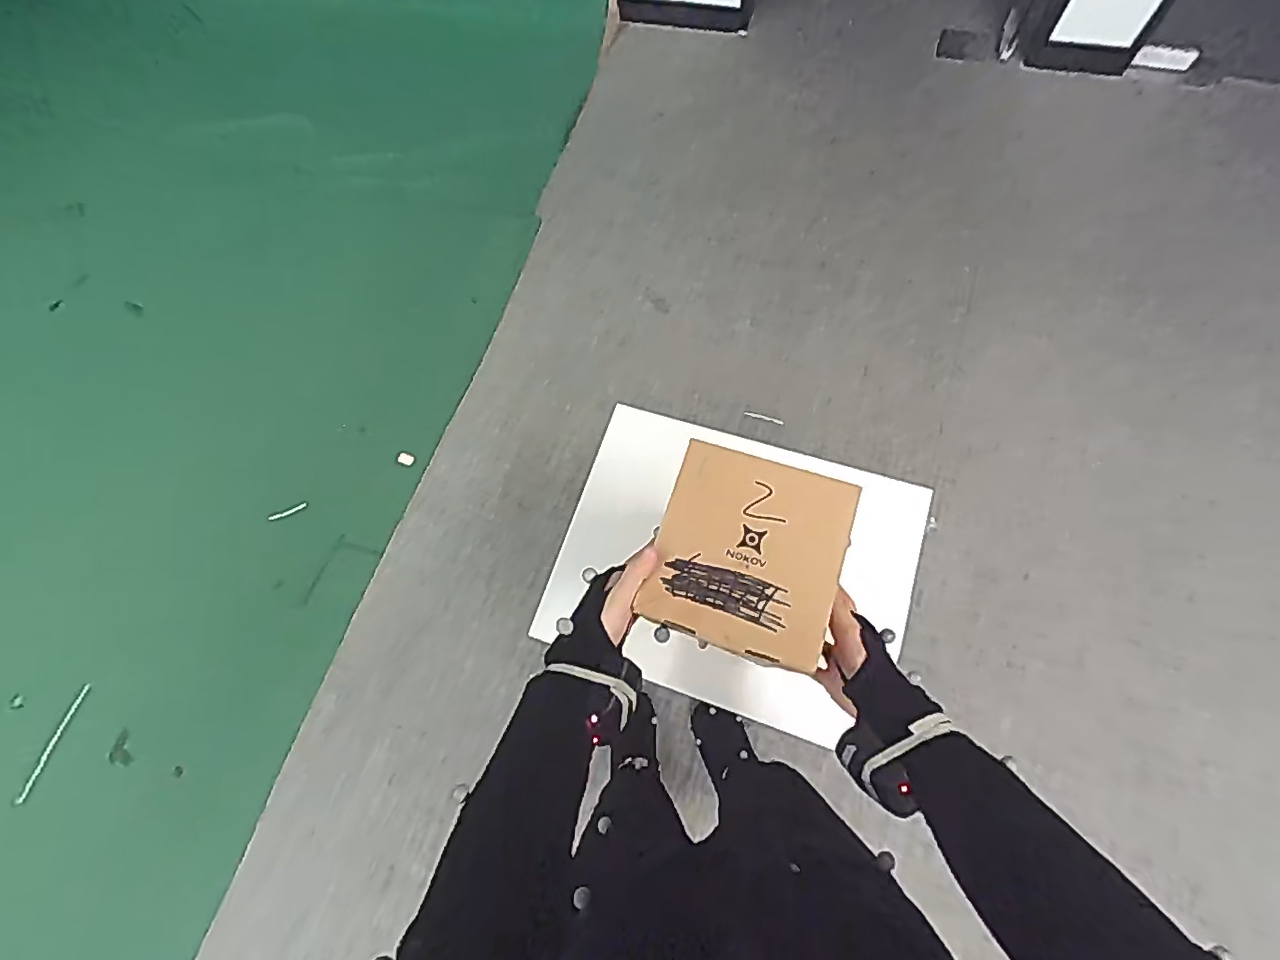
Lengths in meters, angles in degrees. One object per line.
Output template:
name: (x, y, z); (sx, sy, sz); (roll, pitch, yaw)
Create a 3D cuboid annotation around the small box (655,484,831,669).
small box: (0.129, 0.133, 0.709); (0.168, 0.176, 0.179); (19, 74, 13)
